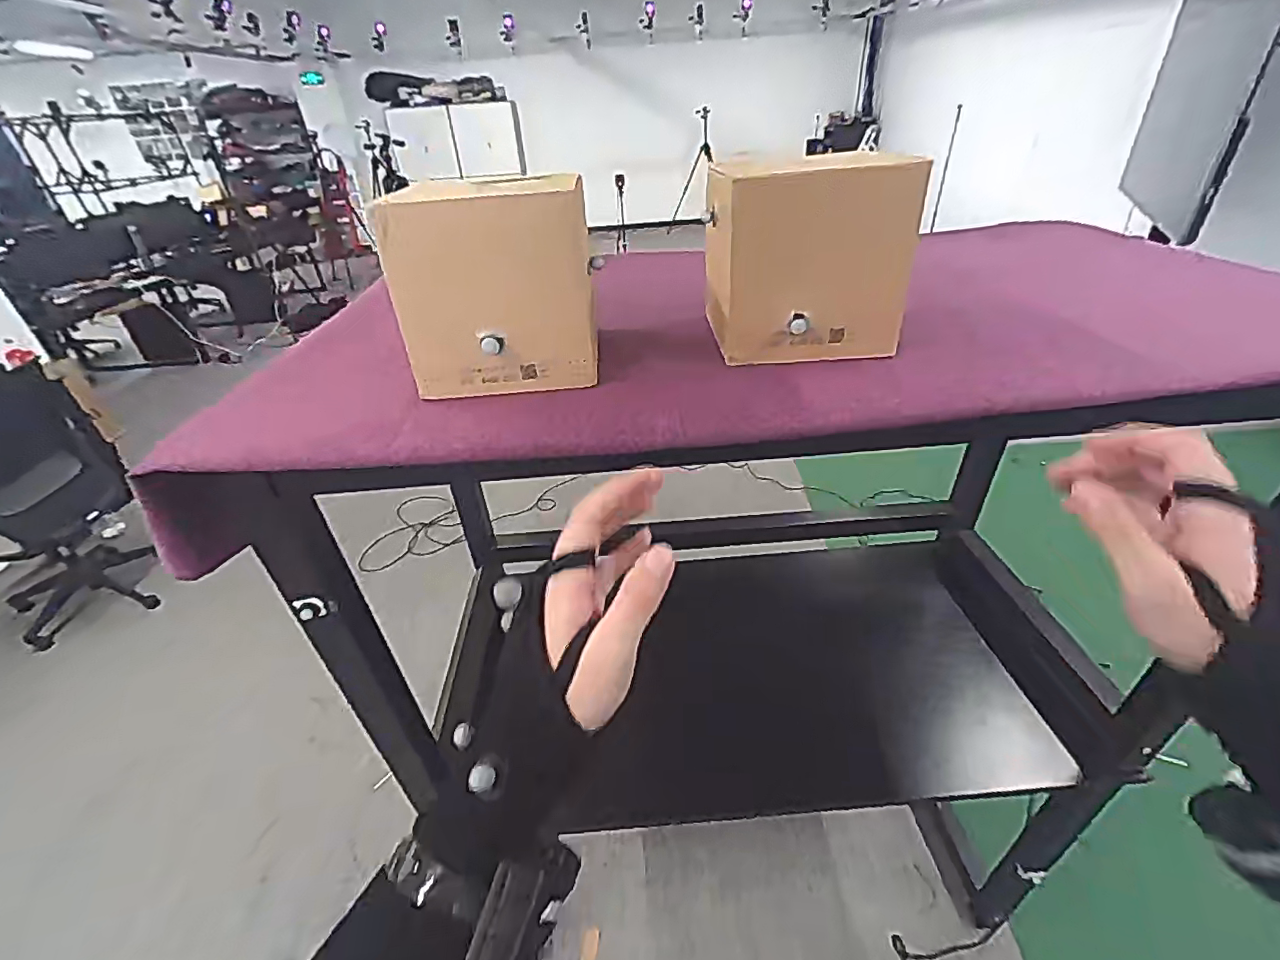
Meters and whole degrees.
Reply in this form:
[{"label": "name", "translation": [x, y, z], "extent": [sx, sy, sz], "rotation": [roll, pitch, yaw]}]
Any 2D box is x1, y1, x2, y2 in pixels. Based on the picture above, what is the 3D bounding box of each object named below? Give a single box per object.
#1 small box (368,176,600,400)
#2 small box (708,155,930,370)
[{"label": "small box", "translation": [-0.131, -0.192, 0.531], "extent": [0.168, 0.176, 0.179], "rotation": [-5, 34, -1]}, {"label": "small box", "translation": [0.158, -0.223, 0.550], "extent": [0.168, 0.176, 0.179], "rotation": [-4, 34, 3]}]
